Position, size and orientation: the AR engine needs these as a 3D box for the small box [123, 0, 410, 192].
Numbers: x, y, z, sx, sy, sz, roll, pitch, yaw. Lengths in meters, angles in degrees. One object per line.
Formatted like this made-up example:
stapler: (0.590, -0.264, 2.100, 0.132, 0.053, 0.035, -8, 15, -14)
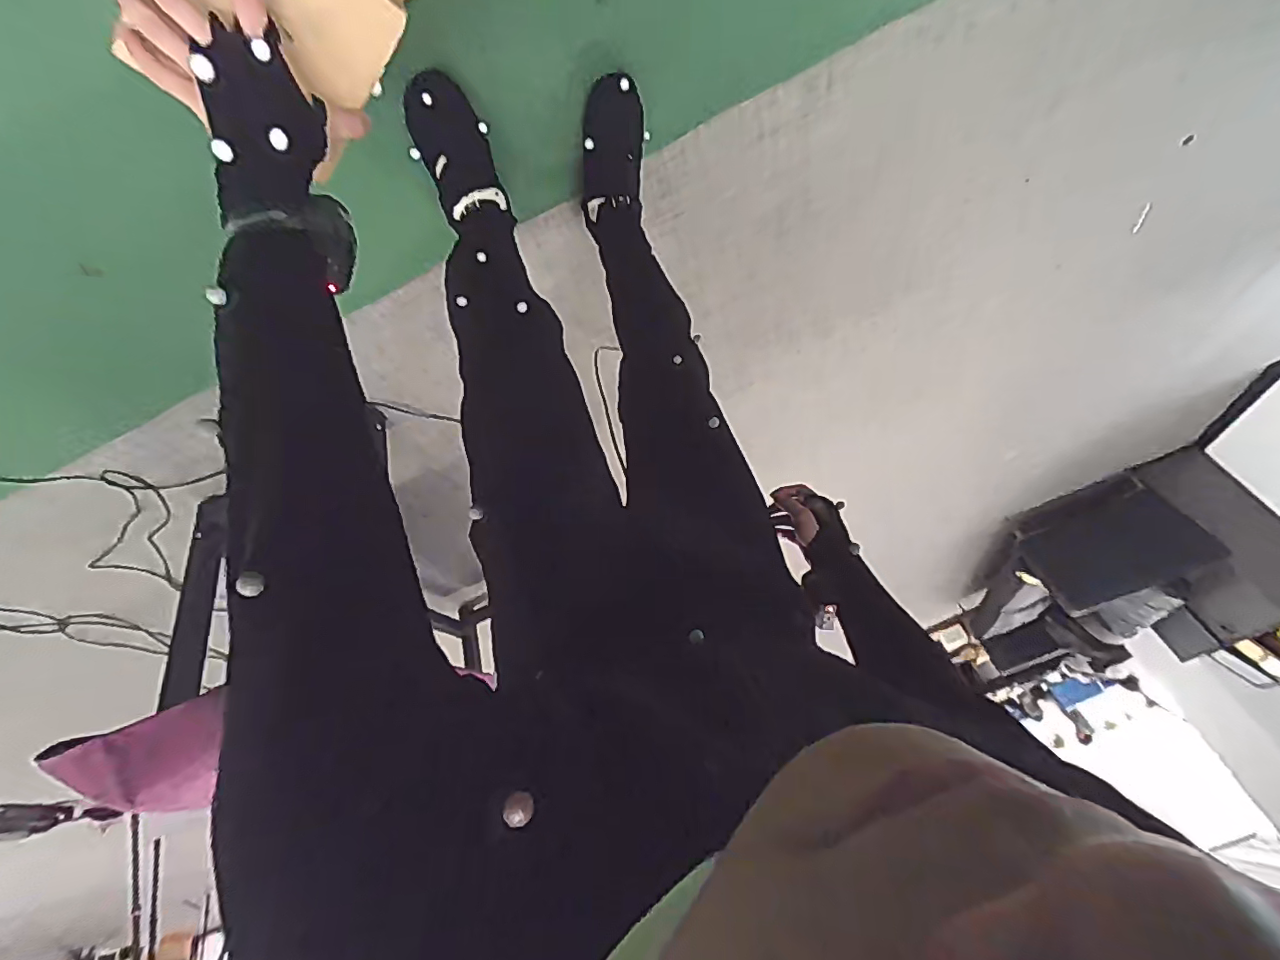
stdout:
small box: (-0.345, -0.429, 0.520, 0.168, 0.176, 0.179, 23, 120, -40)
